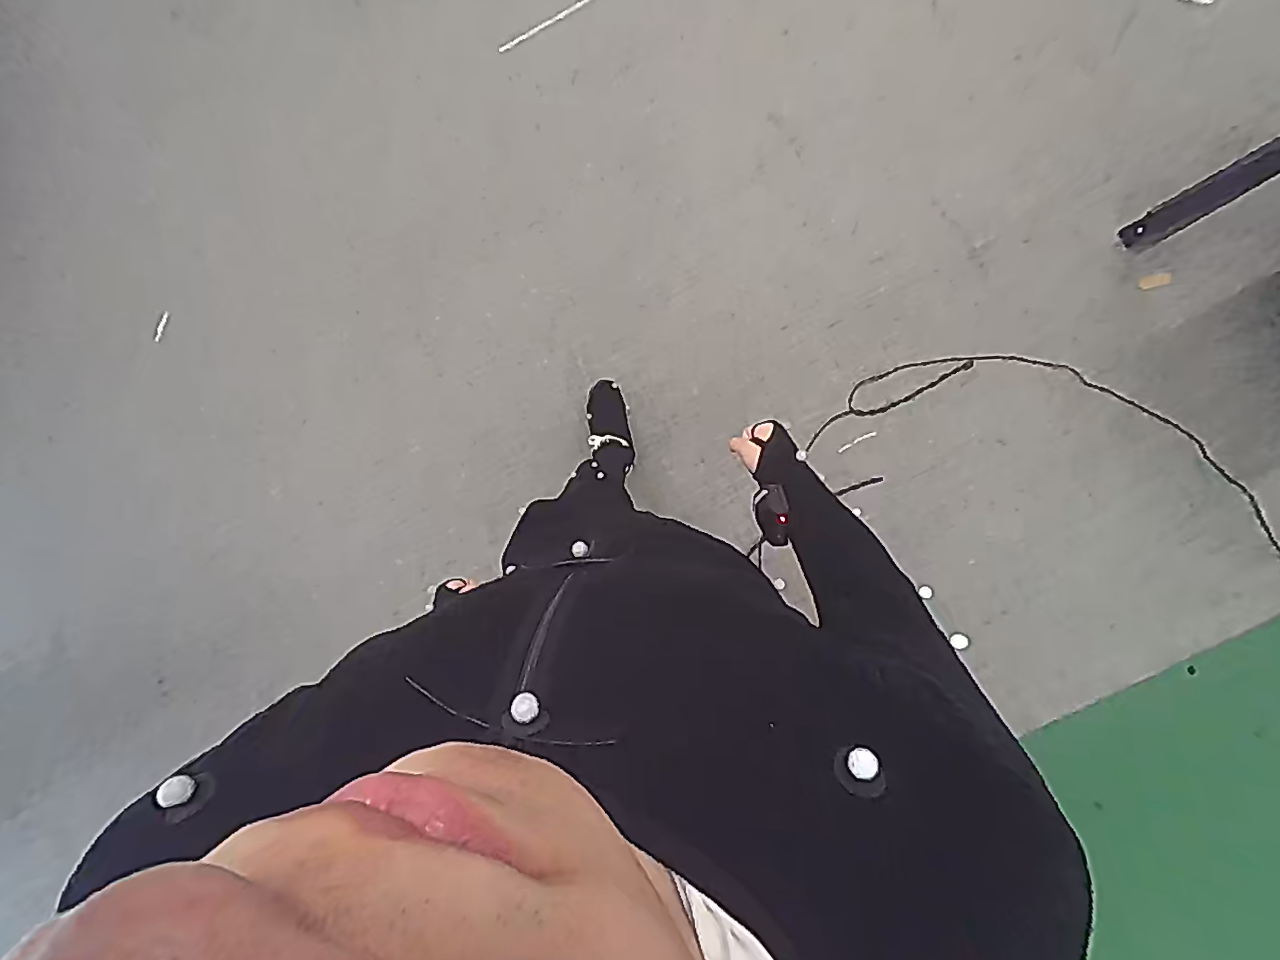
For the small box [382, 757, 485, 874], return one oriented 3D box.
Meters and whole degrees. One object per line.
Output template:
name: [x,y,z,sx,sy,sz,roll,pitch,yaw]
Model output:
small box: [-0.526,0.866,1.415,0.179,0.176,0.168,-28,89,3]
